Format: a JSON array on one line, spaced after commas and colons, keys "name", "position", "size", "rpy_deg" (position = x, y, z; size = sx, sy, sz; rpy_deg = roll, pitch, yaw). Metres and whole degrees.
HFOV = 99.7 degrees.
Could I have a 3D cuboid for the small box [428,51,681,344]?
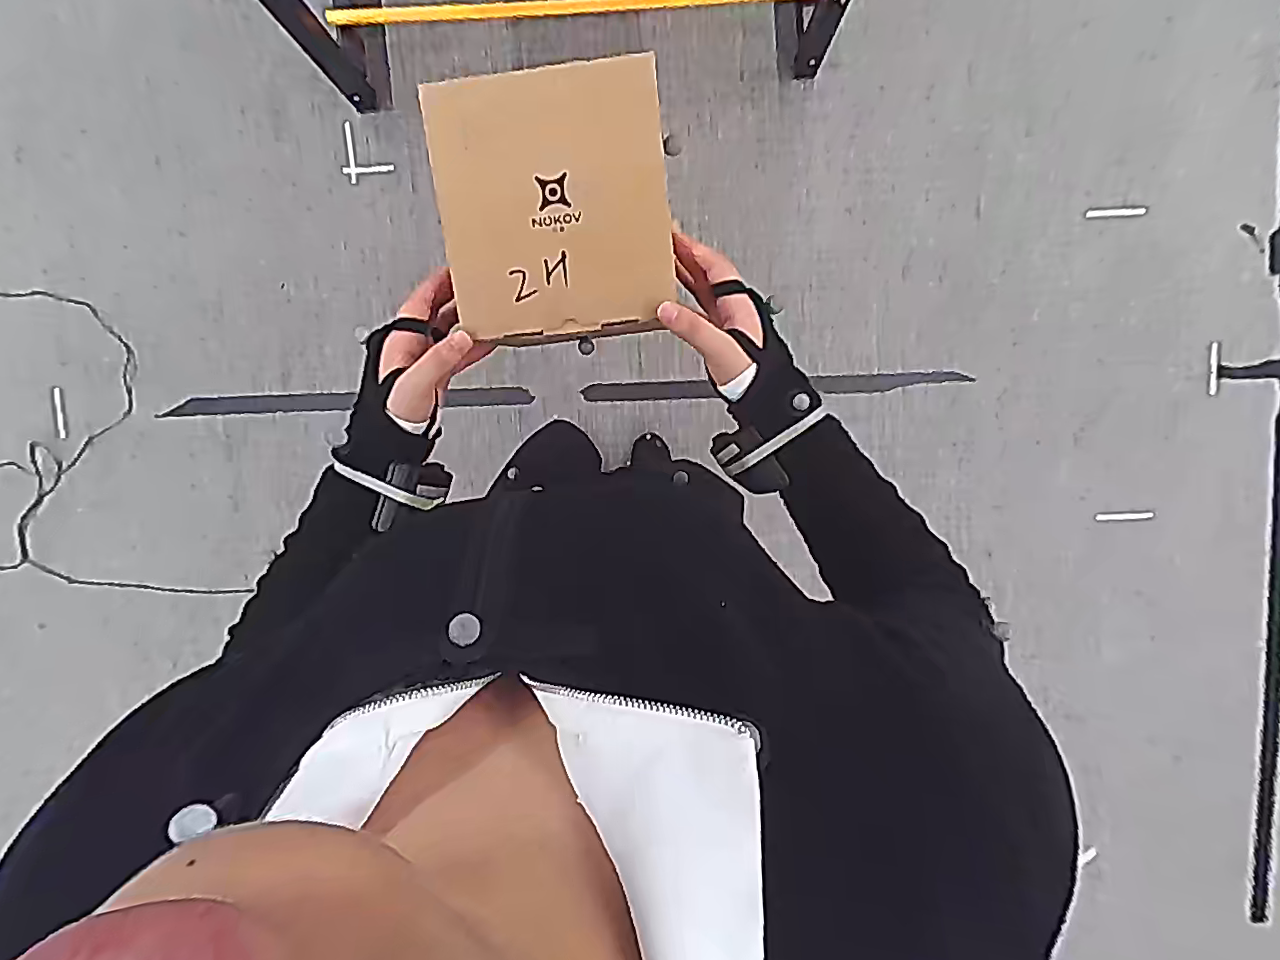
[{"name": "small box", "position": [-0.059, -0.218, 0.466], "size": [0.168, 0.176, 0.179], "rpy_deg": [-6, 102, 2]}]
